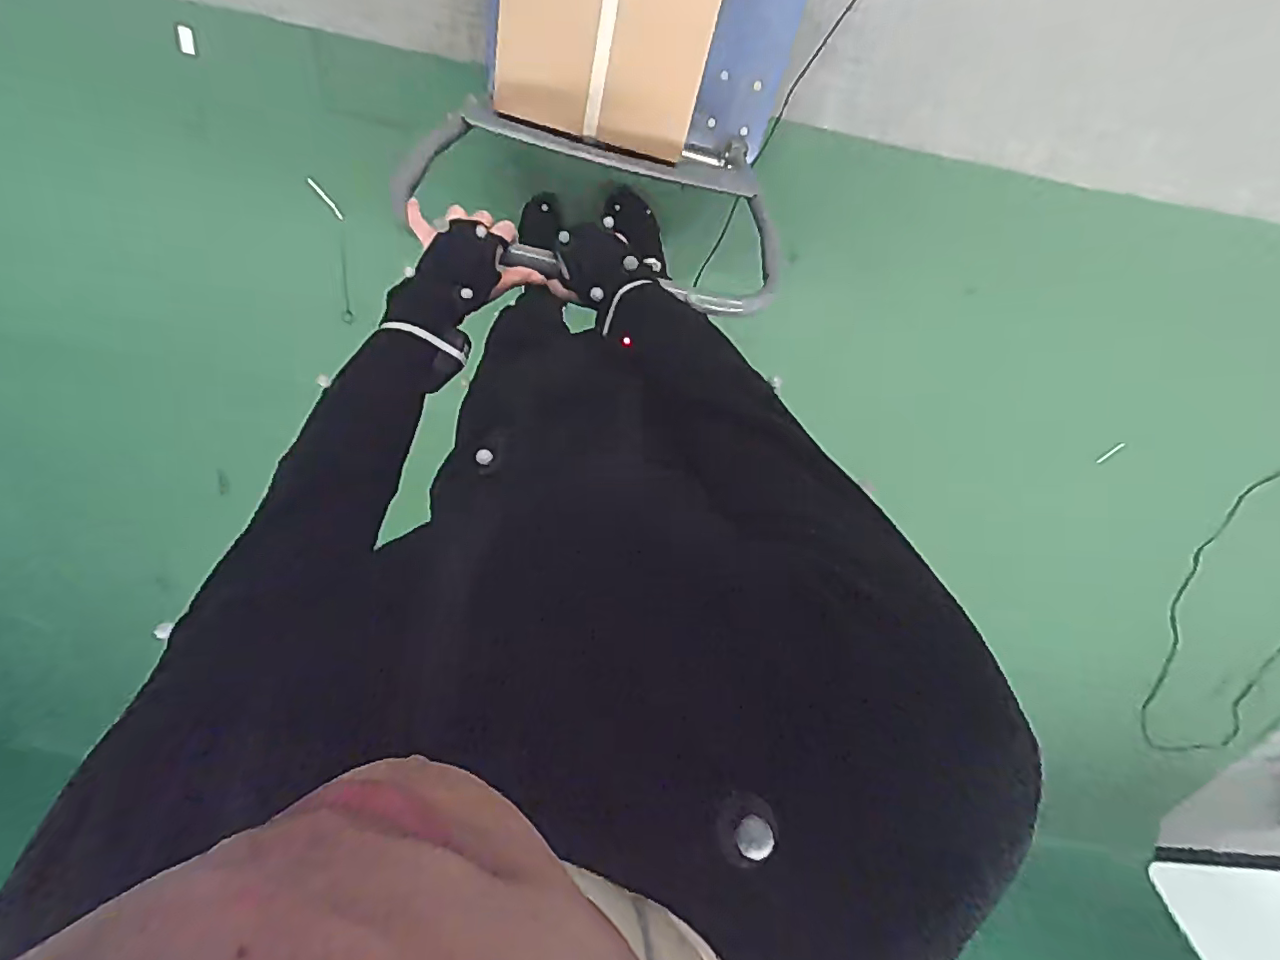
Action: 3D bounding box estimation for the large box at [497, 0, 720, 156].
[{"bbox_3d":[-0.032,-0.810,0.884,0.320,0.320,0.408,11,127,-8],"label":"large box"}]
